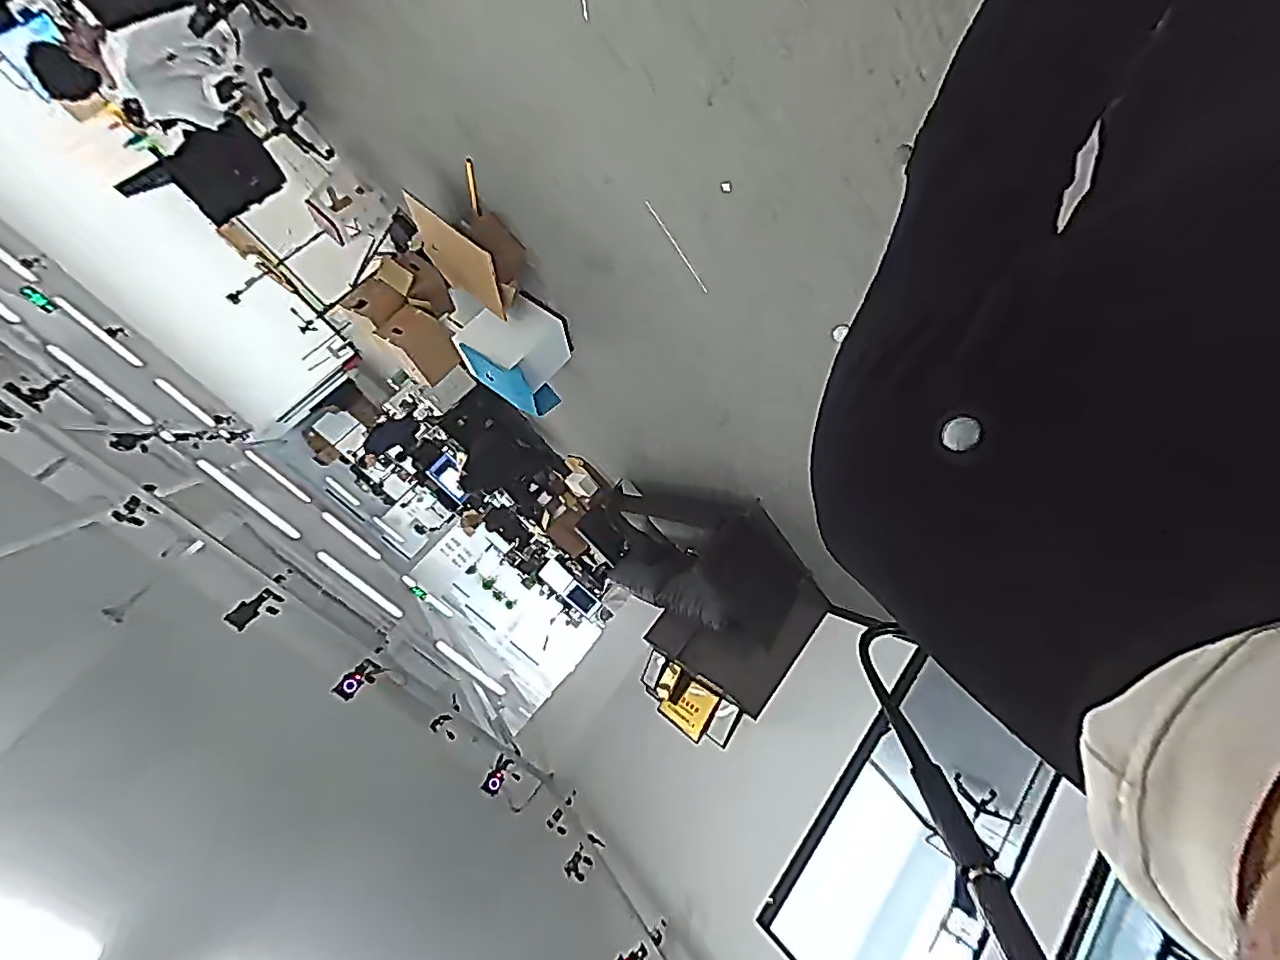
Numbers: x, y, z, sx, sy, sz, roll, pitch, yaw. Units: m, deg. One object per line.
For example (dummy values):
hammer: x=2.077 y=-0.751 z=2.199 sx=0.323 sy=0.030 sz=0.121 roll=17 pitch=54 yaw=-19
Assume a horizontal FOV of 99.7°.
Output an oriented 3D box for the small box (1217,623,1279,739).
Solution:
small box: x=1.385 y=0.444 z=1.161 sx=0.168 sy=0.176 sz=0.179 roll=16 pitch=150 yaw=54
